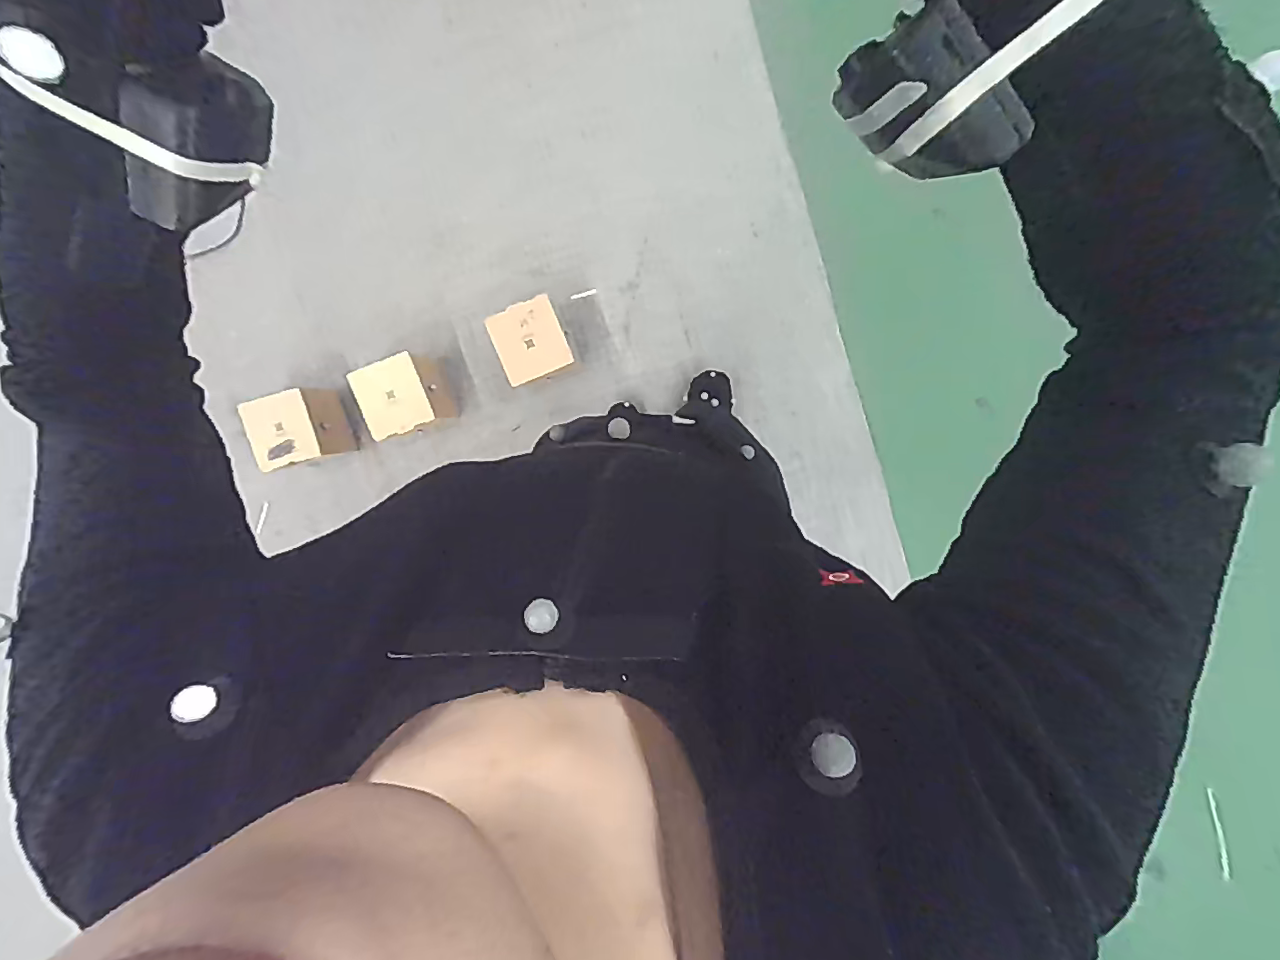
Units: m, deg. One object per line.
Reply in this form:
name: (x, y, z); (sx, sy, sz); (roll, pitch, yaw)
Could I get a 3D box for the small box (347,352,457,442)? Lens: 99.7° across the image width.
small box: (-0.599, -0.209, 1.381); (0.168, 0.176, 0.179); (-20, 97, 4)

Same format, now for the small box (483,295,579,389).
small box: (-0.263, -0.337, 1.356); (0.168, 0.176, 0.179); (-22, 97, 3)

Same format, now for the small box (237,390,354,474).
small box: (-0.877, -0.126, 1.397); (0.168, 0.176, 0.179); (-15, 96, 3)
